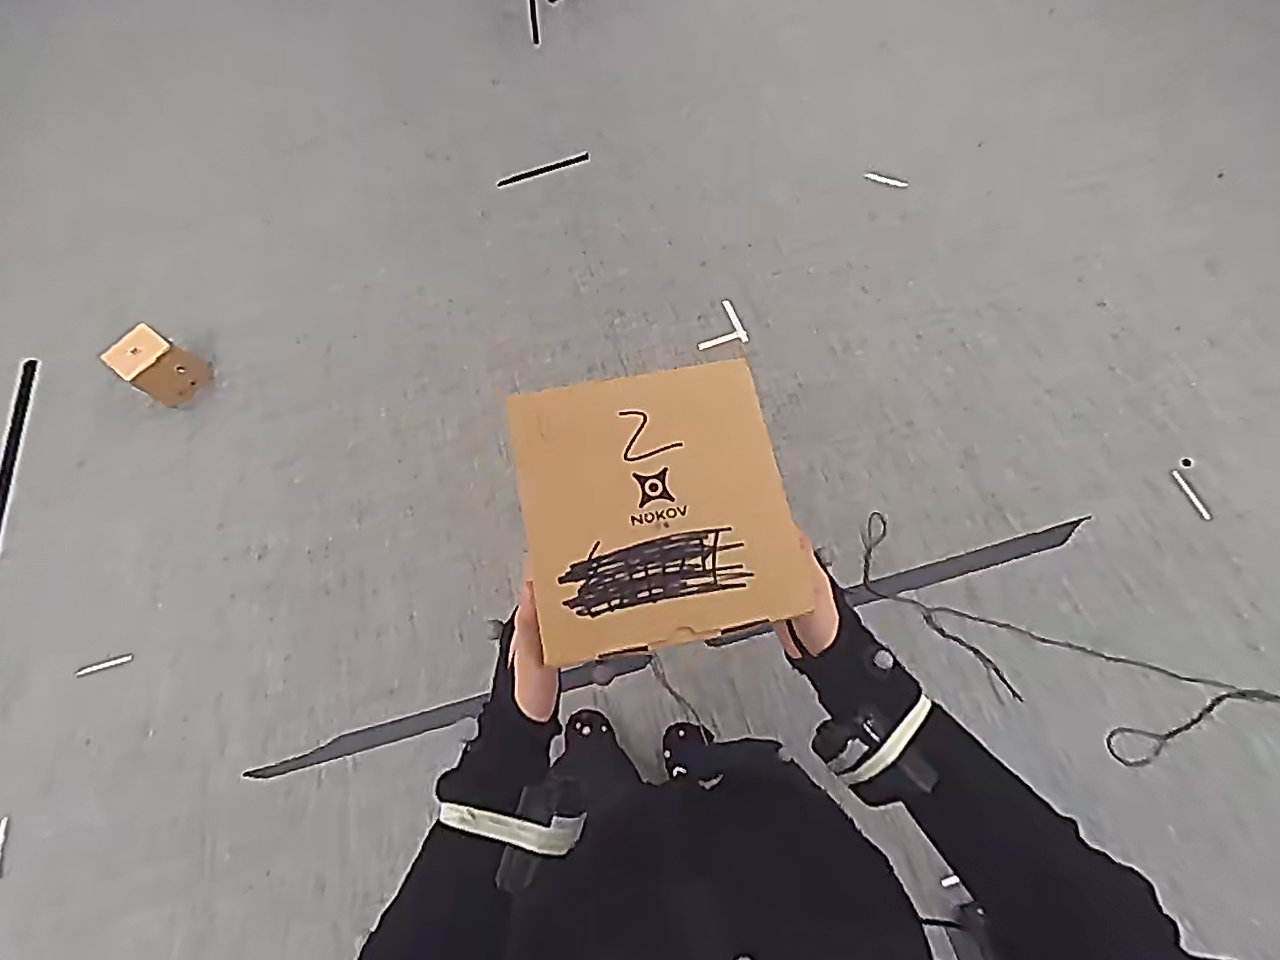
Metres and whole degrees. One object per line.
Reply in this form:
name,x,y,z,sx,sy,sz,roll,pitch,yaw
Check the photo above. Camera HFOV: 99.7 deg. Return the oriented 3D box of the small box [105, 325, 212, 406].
small box,-1.588,-0.371,1.794,0.179,0.176,0.168,32,73,19
